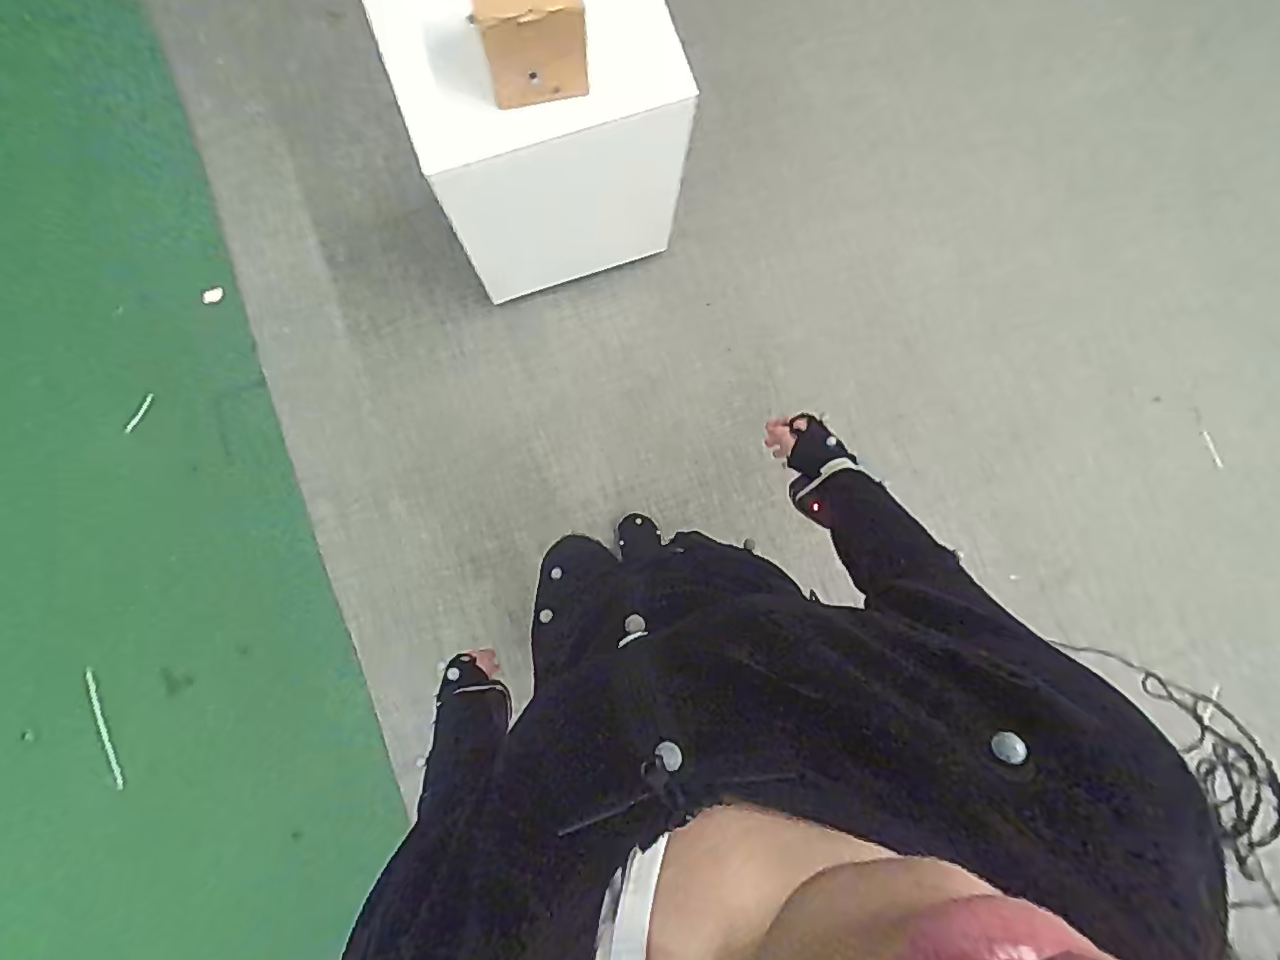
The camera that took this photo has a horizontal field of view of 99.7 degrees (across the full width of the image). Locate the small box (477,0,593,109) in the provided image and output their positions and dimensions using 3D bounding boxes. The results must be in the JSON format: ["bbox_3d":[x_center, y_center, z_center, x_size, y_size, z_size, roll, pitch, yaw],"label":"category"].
[{"bbox_3d":[-0.174,-0.755,0.878,0.168,0.176,0.179,-13,86,-4],"label":"small box"}]
